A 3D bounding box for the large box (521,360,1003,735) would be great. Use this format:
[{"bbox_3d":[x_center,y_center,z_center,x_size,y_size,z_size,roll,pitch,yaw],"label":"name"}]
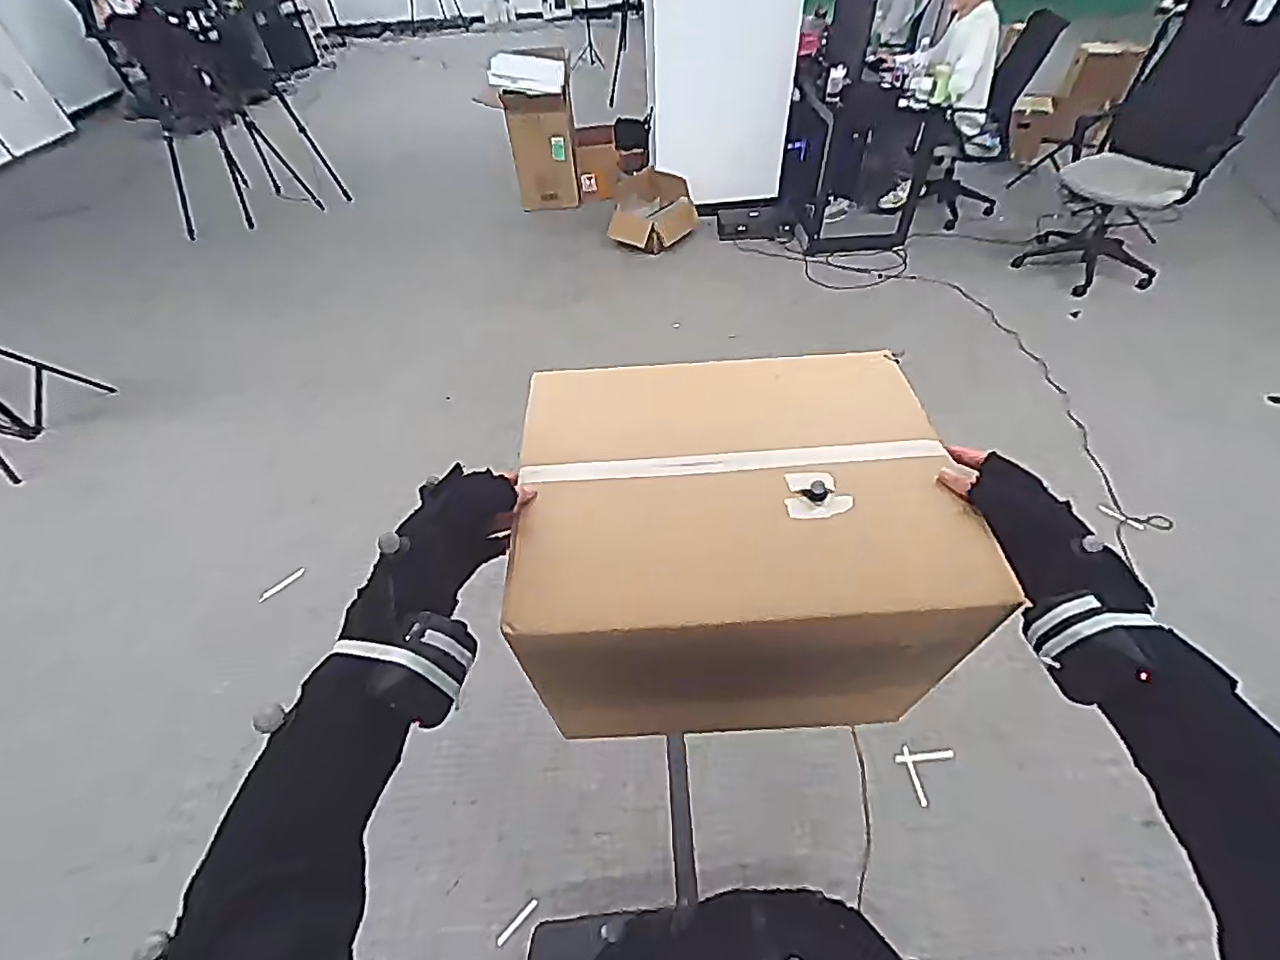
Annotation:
[{"bbox_3d":[0.095,0.087,0.643,0.408,0.320,0.320,-4,51,0],"label":"large box"}]
